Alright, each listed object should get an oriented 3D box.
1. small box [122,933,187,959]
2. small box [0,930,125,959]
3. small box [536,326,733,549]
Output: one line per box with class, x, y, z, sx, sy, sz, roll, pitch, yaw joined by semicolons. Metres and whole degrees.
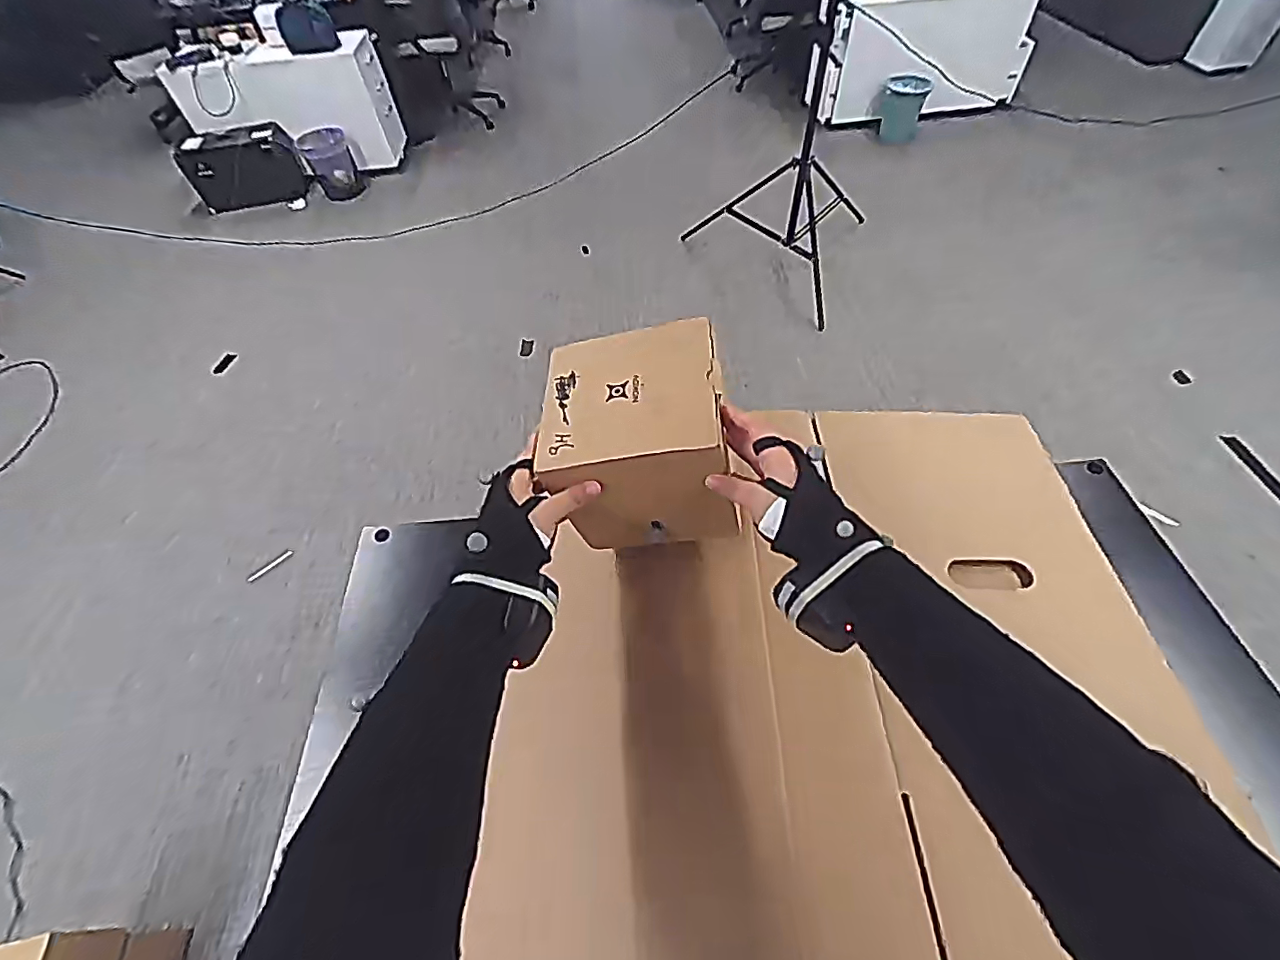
small box;-1.035;1.000;1.044;0.168;0.176;0.179;-9;53;-3
small box;-1.045;0.897;0.918;0.168;0.176;0.179;-10;52;-5
small box;0.008;-0.037;0.594;0.179;0.176;0.168;-7;54;12
